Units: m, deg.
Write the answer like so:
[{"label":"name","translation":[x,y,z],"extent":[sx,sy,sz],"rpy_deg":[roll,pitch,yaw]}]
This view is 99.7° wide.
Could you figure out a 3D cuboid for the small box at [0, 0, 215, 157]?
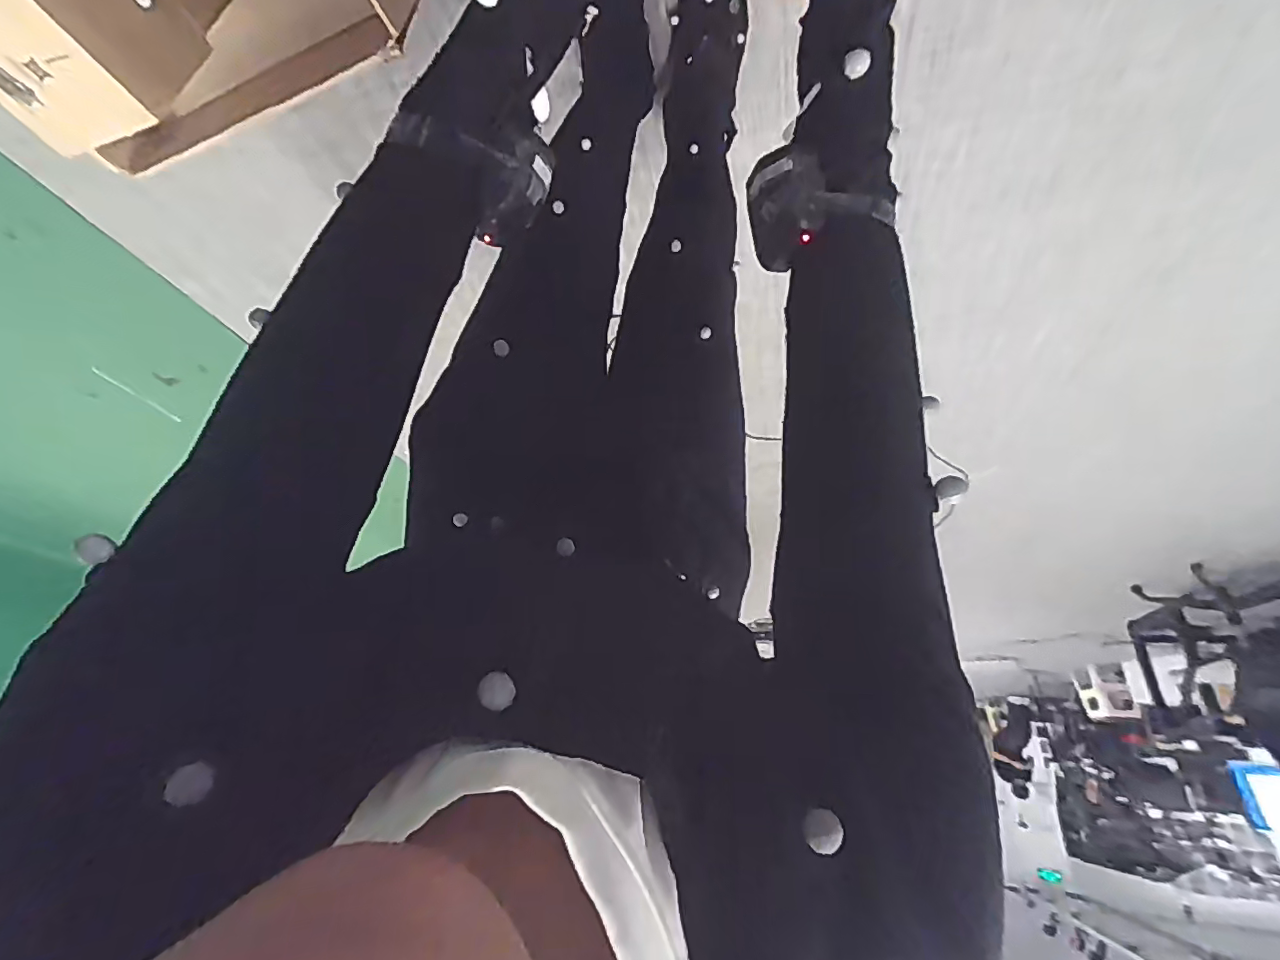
[{"label":"small box","translation":[-0.669,-0.536,0.649],"extent":[0.179,0.176,0.168],"rpy_deg":[-6,152,16]}]
